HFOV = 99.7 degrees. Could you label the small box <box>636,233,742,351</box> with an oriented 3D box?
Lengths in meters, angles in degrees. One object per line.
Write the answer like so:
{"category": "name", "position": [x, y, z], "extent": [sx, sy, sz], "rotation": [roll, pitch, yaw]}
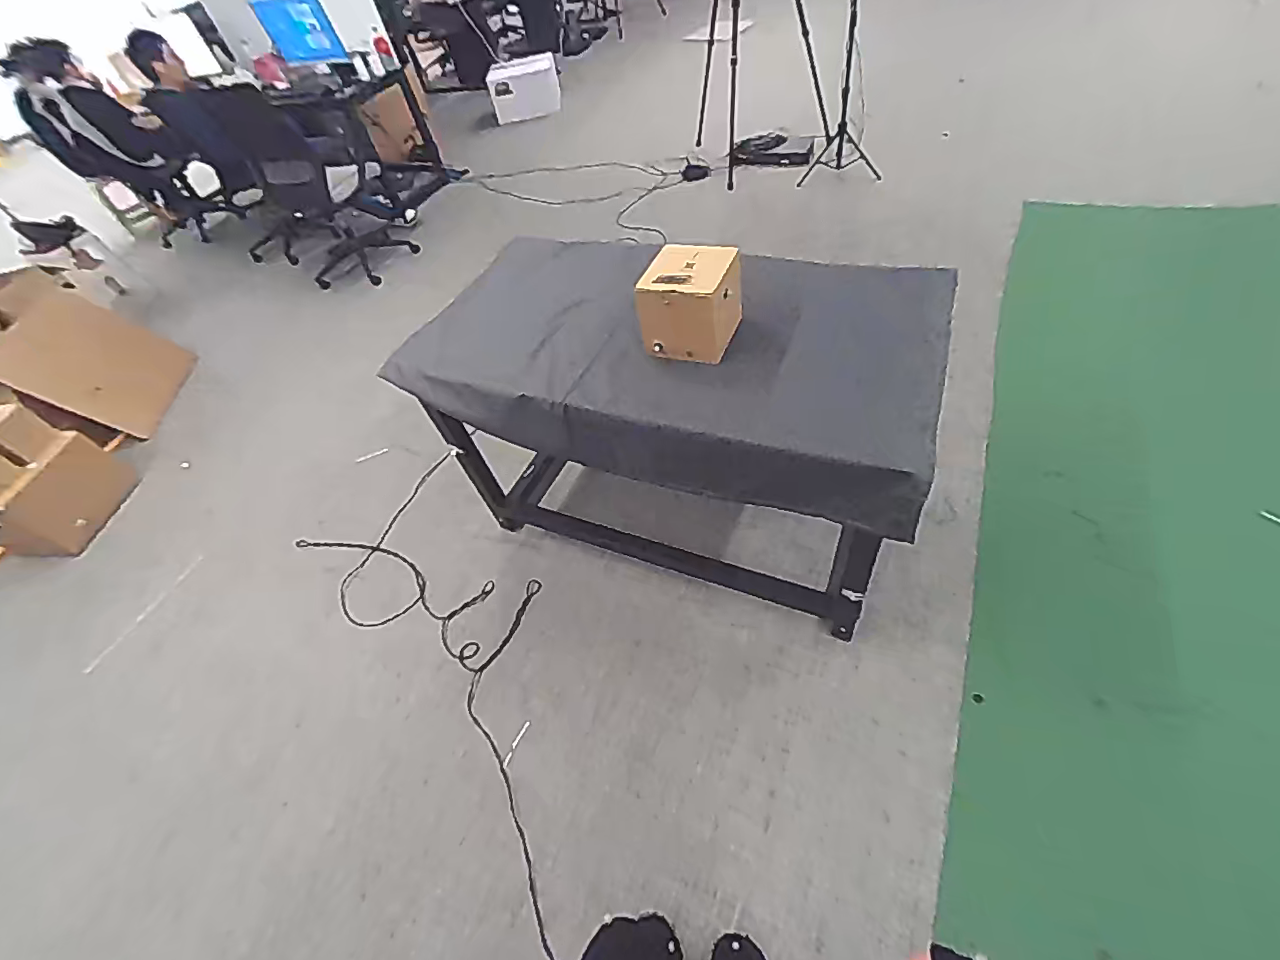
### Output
{"category": "small box", "position": [0.113, -0.394, 1.136], "extent": [0.168, 0.176, 0.179], "rotation": [14, 55, 22]}
